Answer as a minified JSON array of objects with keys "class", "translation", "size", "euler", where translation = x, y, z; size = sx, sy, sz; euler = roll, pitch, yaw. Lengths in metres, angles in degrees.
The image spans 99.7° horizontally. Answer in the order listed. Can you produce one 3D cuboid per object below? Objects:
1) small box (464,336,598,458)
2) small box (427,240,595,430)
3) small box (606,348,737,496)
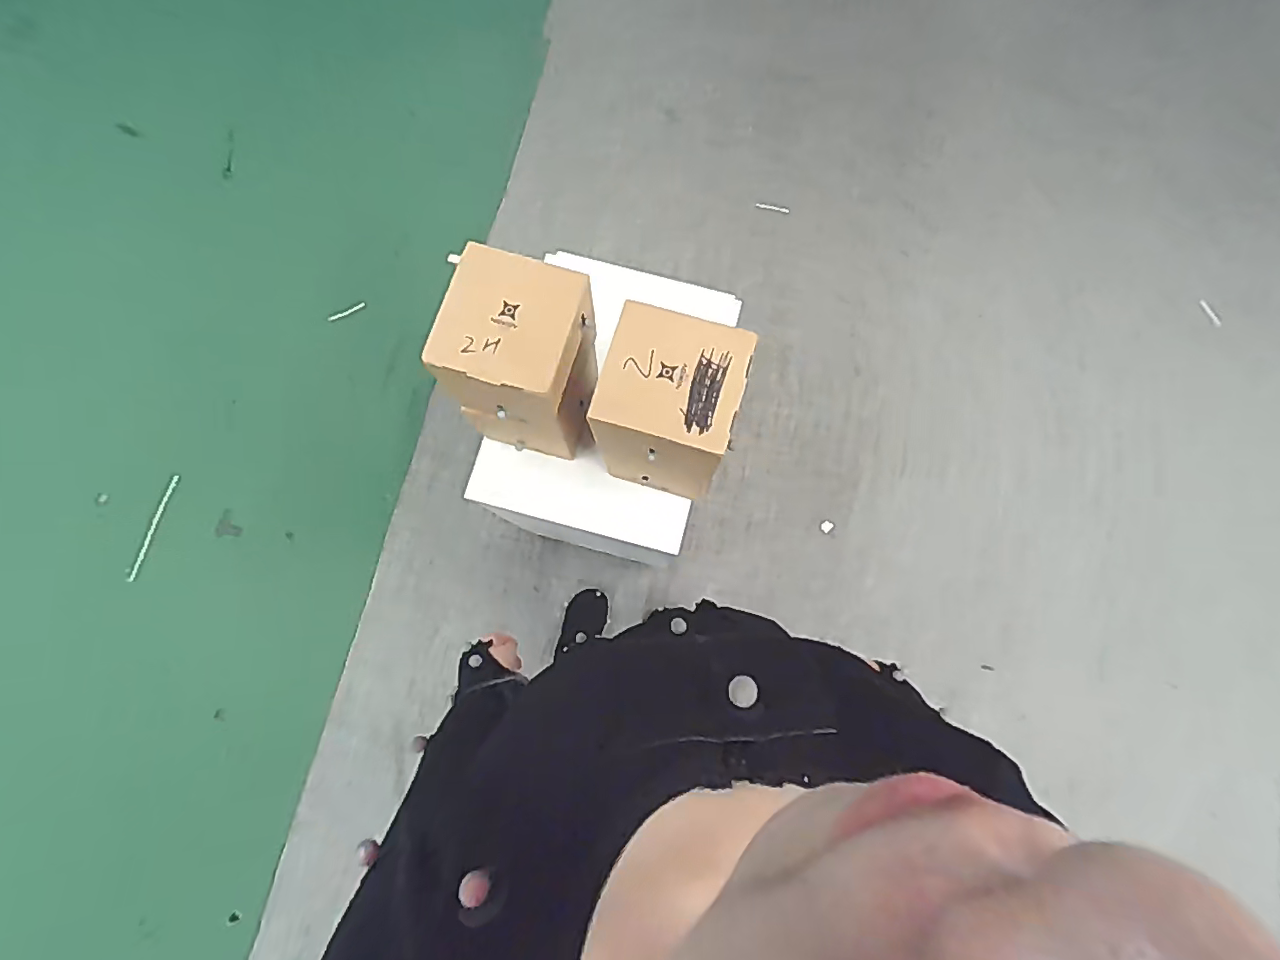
[{"class":"small box","translation":[-0.172,-0.155,0.916],"size":[0.168,0.176,0.179],"euler":[15,79,2]},{"class":"small box","translation":[-0.164,-0.191,0.756],"size":[0.168,0.176,0.179],"euler":[16,79,2]},{"class":"small box","translation":[0.049,-0.088,0.904],"size":[0.168,0.176,0.179],"euler":[17,79,4]}]
